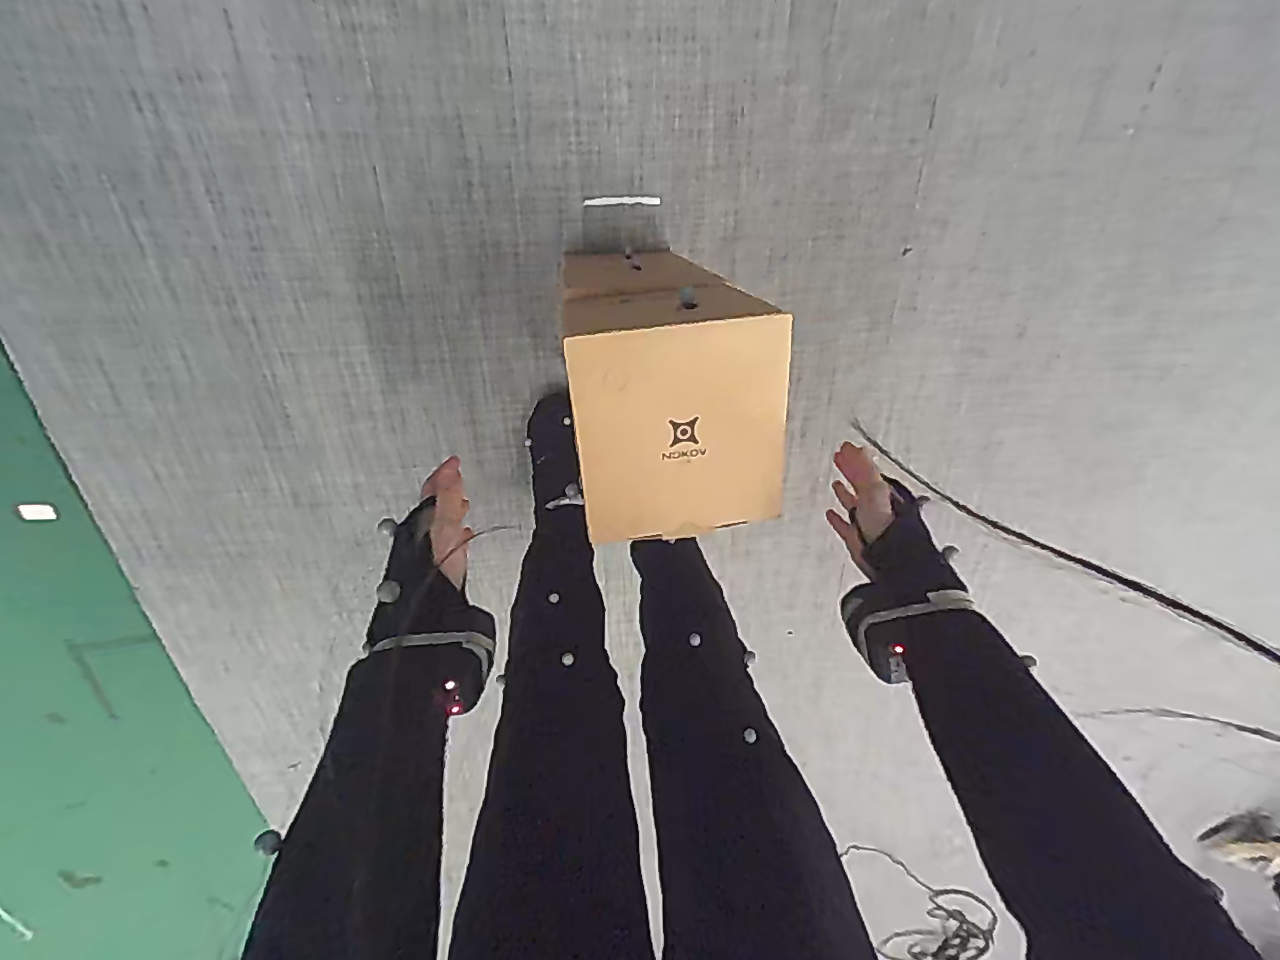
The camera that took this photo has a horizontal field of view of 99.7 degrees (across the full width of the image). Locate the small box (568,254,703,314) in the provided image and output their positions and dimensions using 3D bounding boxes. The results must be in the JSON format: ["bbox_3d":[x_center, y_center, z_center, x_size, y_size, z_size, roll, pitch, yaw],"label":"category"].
[{"bbox_3d":[-0.014,-0.219,0.762,0.168,0.176,0.179,-3,119,-6],"label":"small box"}]

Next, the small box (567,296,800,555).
[{"bbox_3d":[0.027,-0.060,0.479,0.168,0.176,0.179,-7,119,-5],"label":"small box"}]
